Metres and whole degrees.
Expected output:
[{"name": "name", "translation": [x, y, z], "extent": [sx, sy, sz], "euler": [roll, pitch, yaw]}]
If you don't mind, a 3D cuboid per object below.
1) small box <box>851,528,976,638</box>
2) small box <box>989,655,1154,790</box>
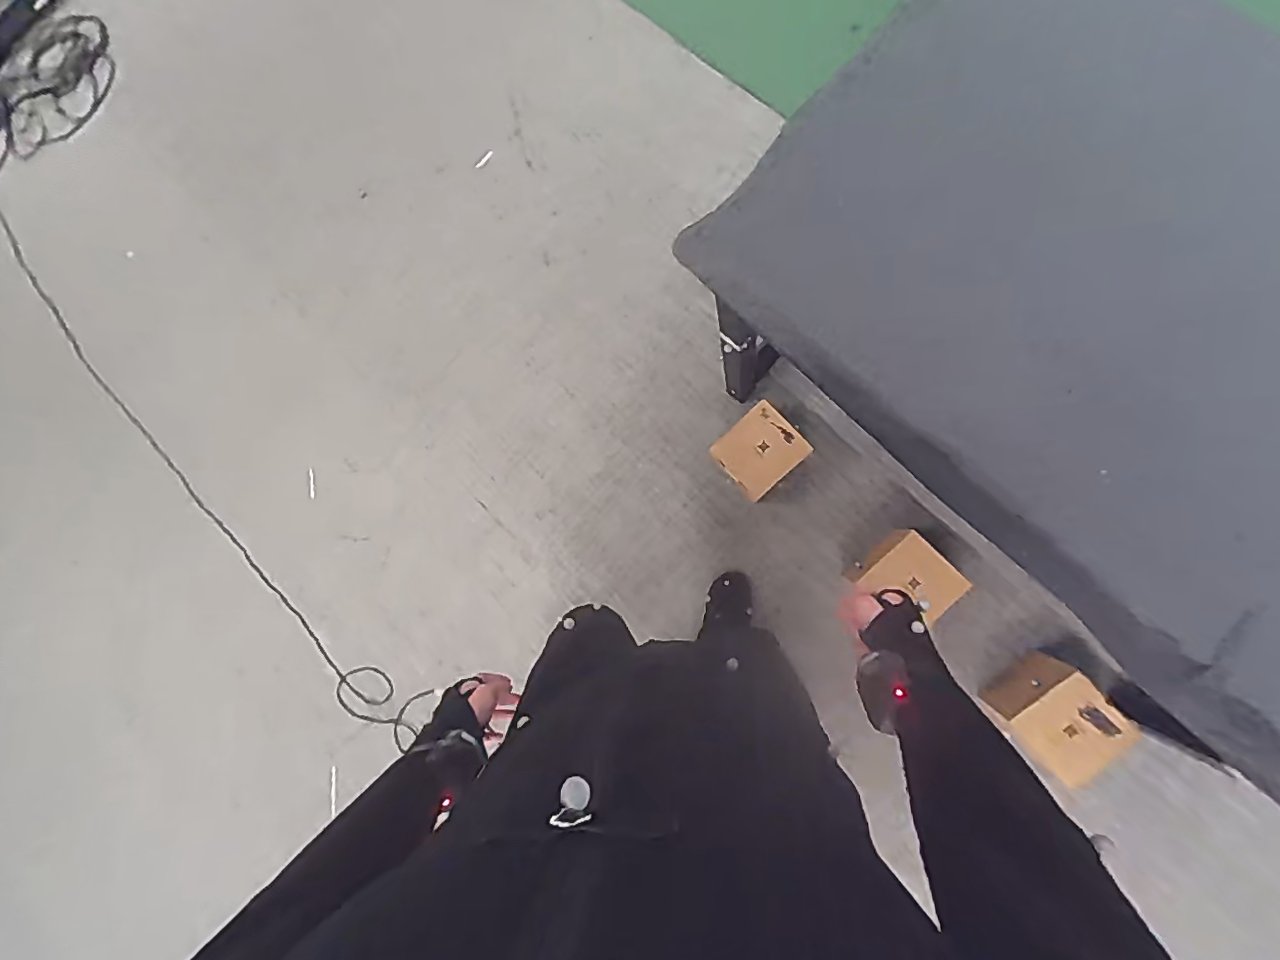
[{"name": "small box", "translation": [0.604, 0.226, 1.226], "extent": [0.179, 0.176, 0.168], "euler": [-45, 80, 3]}, {"name": "small box", "translation": [0.890, 0.496, 1.138], "extent": [0.179, 0.176, 0.168], "euler": [-42, 78, 6]}]
